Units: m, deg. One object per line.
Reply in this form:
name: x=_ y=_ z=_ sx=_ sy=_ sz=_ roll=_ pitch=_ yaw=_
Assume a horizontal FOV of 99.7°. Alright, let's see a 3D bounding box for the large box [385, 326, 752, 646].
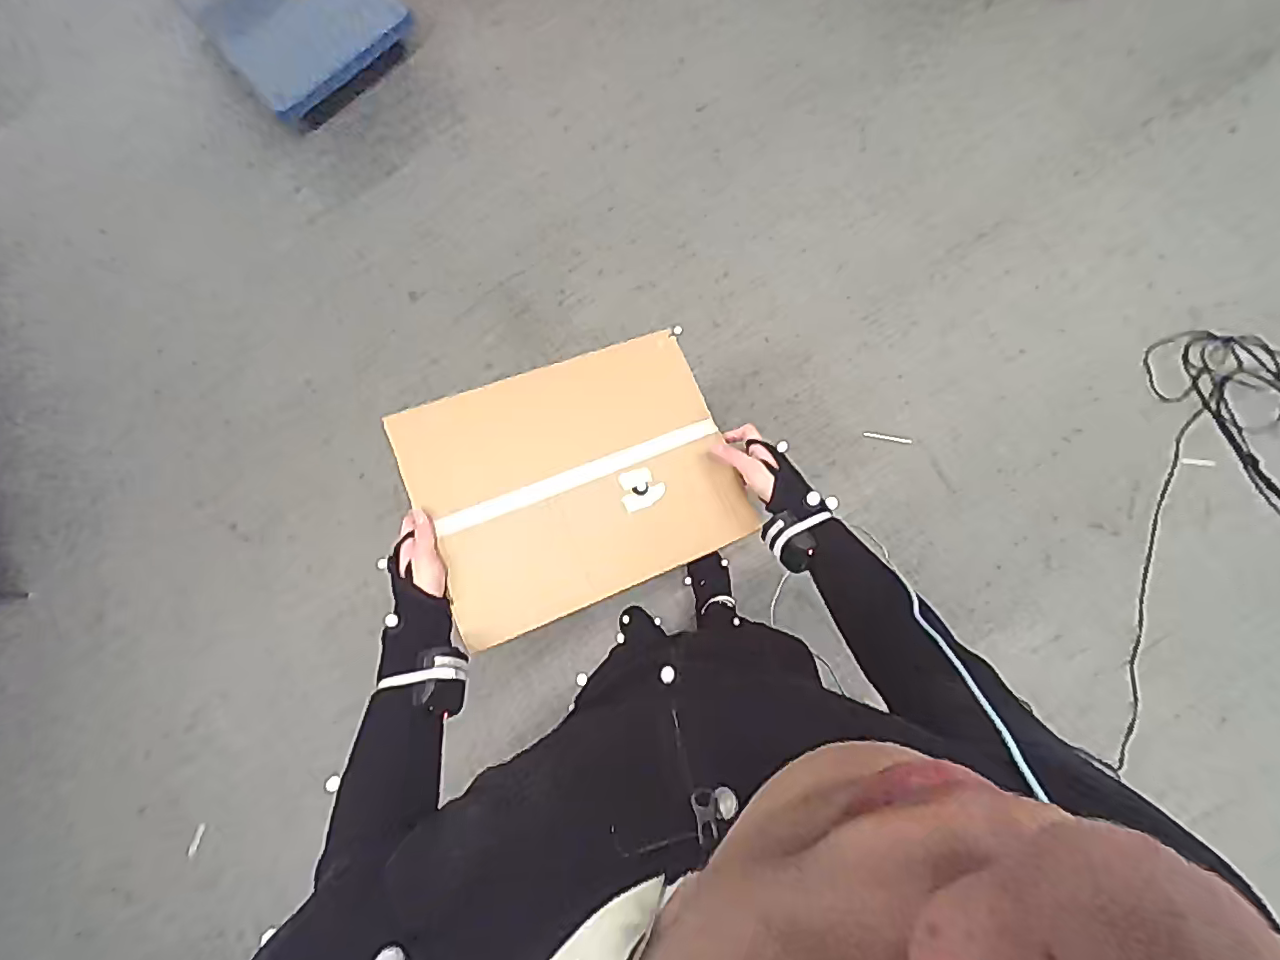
large box: x=-0.110 y=0.023 z=0.843 sx=0.408 sy=0.320 sz=0.320 roll=-22 pitch=82 yaw=-15
